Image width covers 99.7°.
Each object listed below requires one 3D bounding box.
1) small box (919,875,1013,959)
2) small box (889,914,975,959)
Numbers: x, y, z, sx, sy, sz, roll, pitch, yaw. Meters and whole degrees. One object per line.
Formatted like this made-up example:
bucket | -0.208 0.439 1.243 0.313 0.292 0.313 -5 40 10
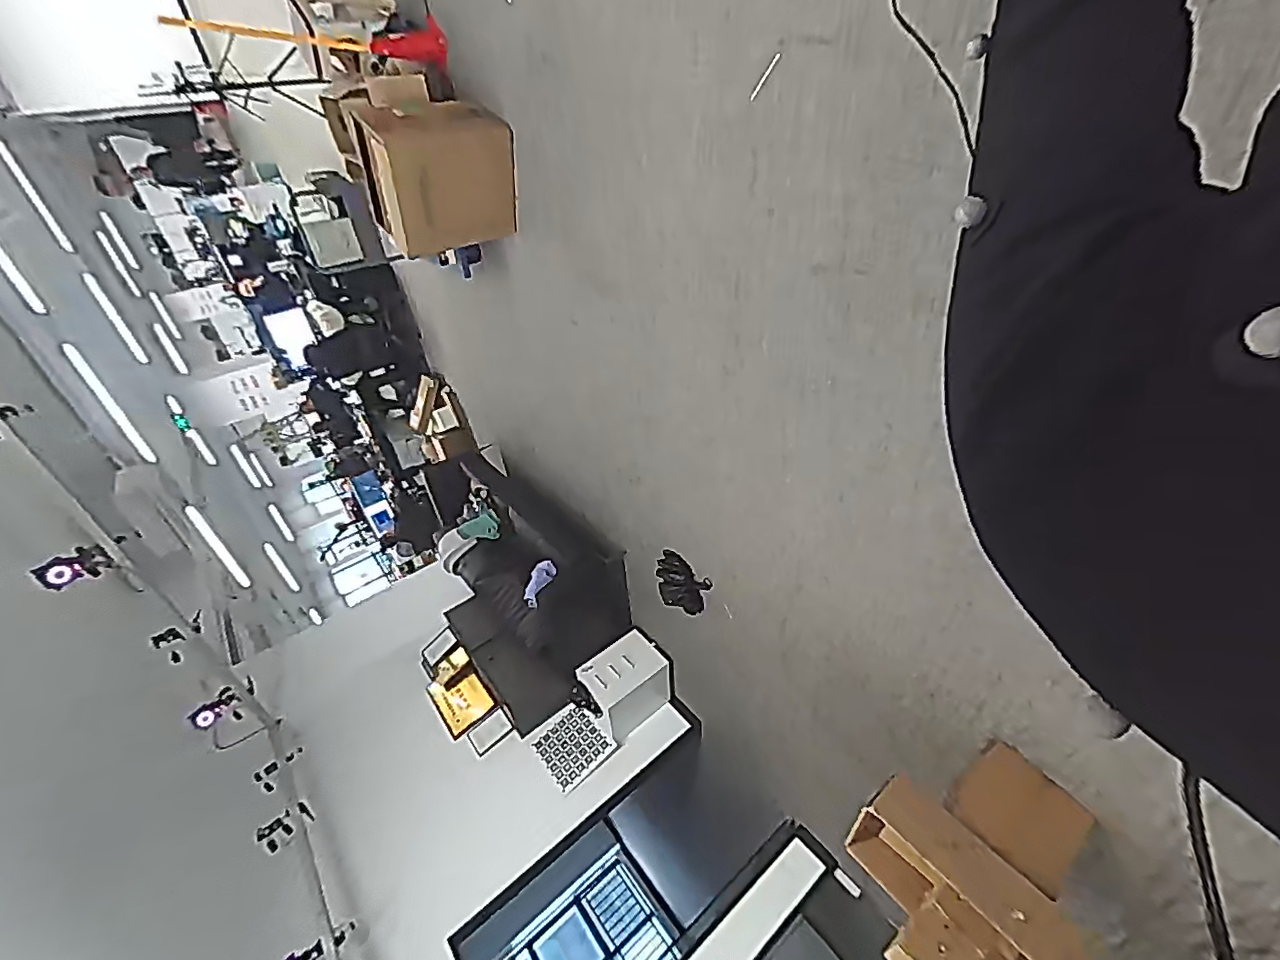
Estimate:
small box | 1.005 1.365 1.665 0.168 0.176 0.179 41 148 39
small box | 0.873 1.439 1.601 0.168 0.176 0.179 41 146 39
